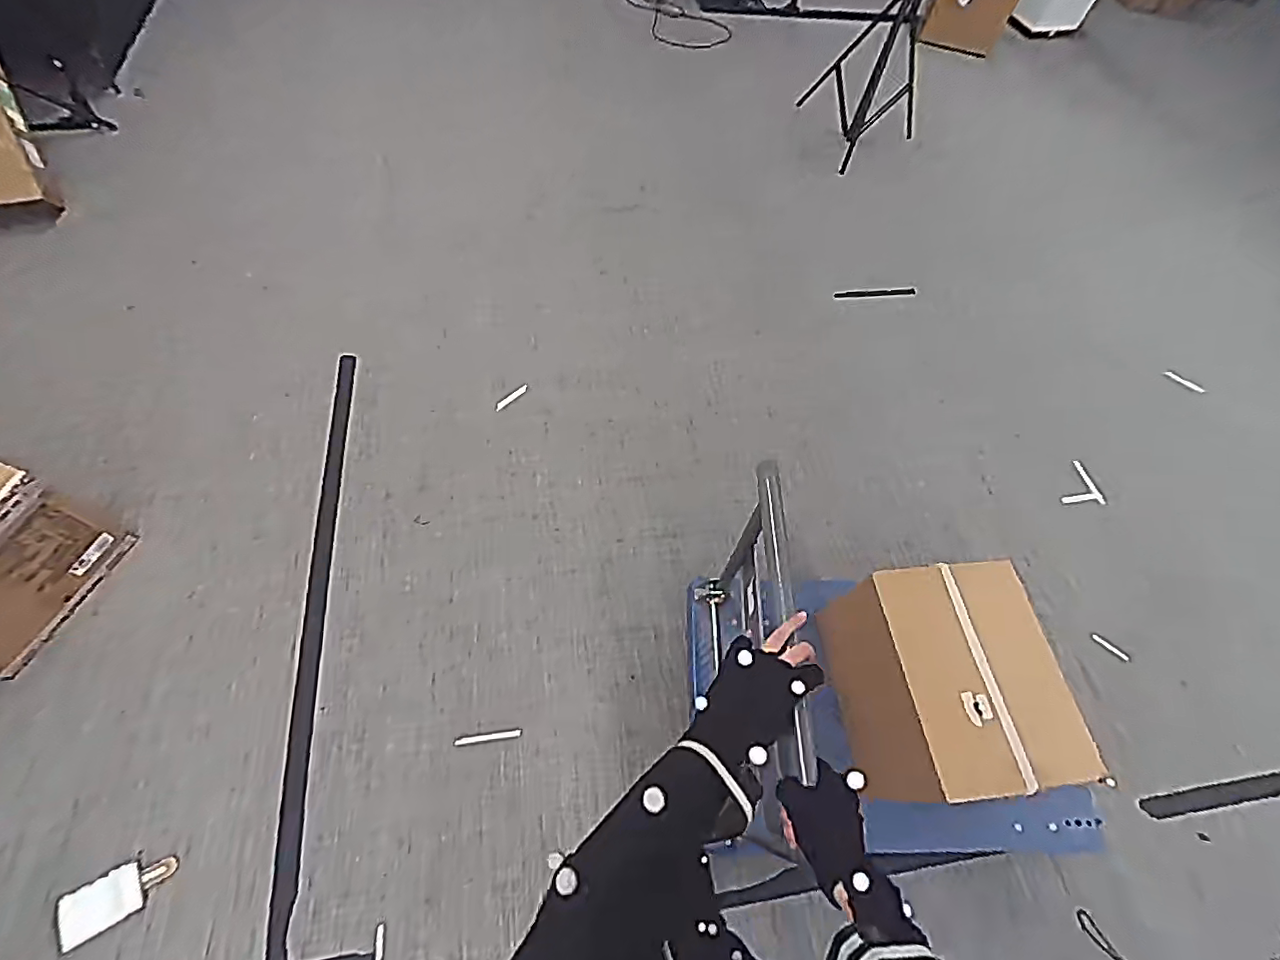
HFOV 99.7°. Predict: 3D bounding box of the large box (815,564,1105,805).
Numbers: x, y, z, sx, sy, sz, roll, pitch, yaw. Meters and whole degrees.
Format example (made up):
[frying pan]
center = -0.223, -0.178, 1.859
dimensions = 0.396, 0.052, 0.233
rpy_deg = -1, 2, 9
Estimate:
[large box]
center = 0.617, 0.425, 1.135
dimensions = 0.320, 0.320, 0.408
rpy_deg = -4, 62, -8
